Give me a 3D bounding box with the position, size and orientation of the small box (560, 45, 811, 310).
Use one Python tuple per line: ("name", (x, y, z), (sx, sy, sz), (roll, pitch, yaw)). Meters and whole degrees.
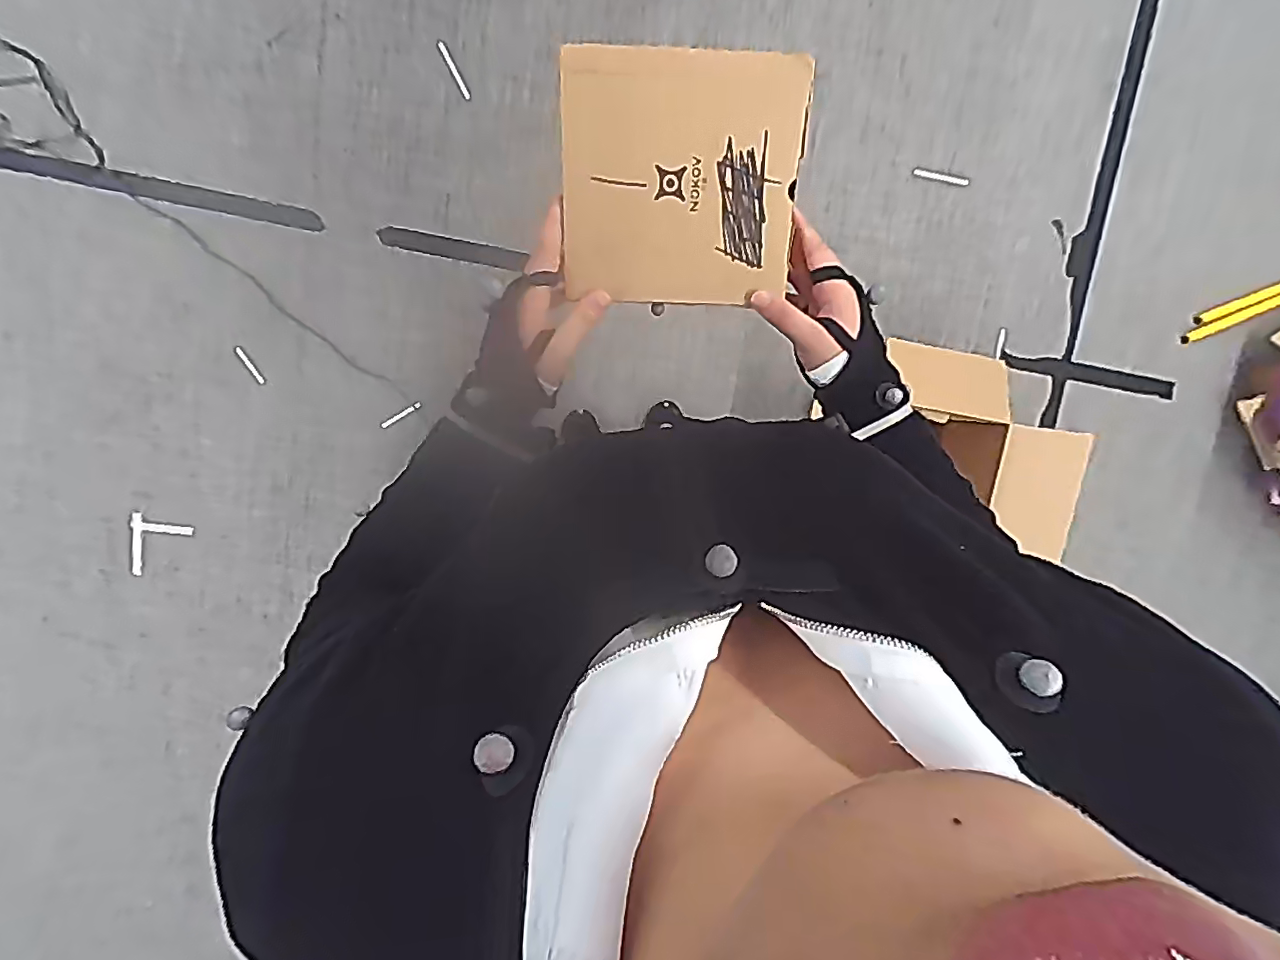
("small box", (0.026, -0.245, 0.471), (0.179, 0.176, 0.168), (1, 112, -2))
